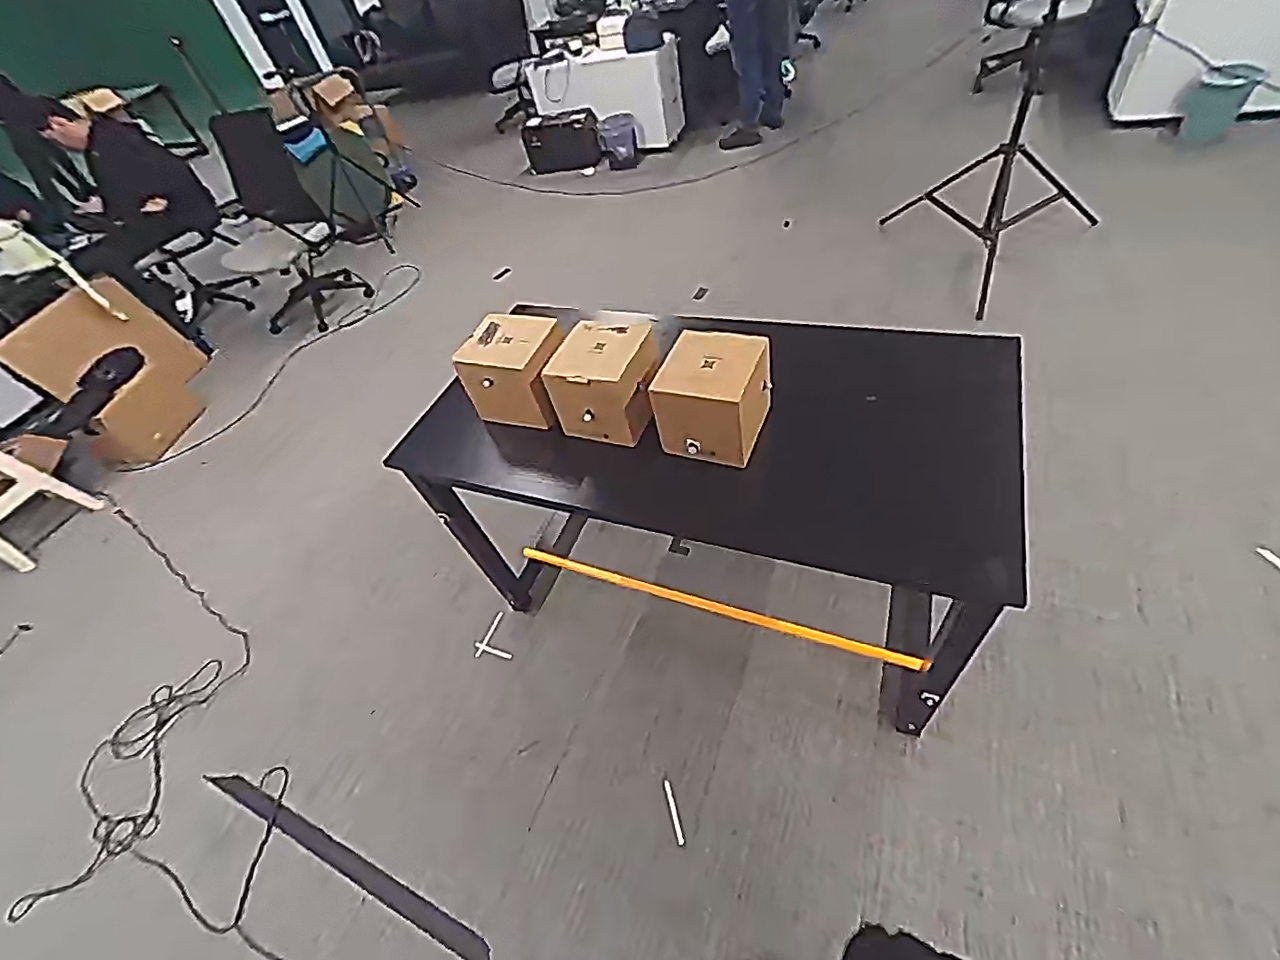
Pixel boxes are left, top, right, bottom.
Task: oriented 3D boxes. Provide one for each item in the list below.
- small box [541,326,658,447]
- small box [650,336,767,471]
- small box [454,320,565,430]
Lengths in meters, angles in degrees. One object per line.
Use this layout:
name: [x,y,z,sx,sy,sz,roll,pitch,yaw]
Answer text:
small box: [-0.067,-0.189,1.099,0.168,0.176,0.179,11,54,23]
small box: [0.137,-0.145,1.013,0.168,0.176,0.179,11,55,24]
small box: [-0.263,-0.227,1.180,0.179,0.176,0.168,10,54,20]
